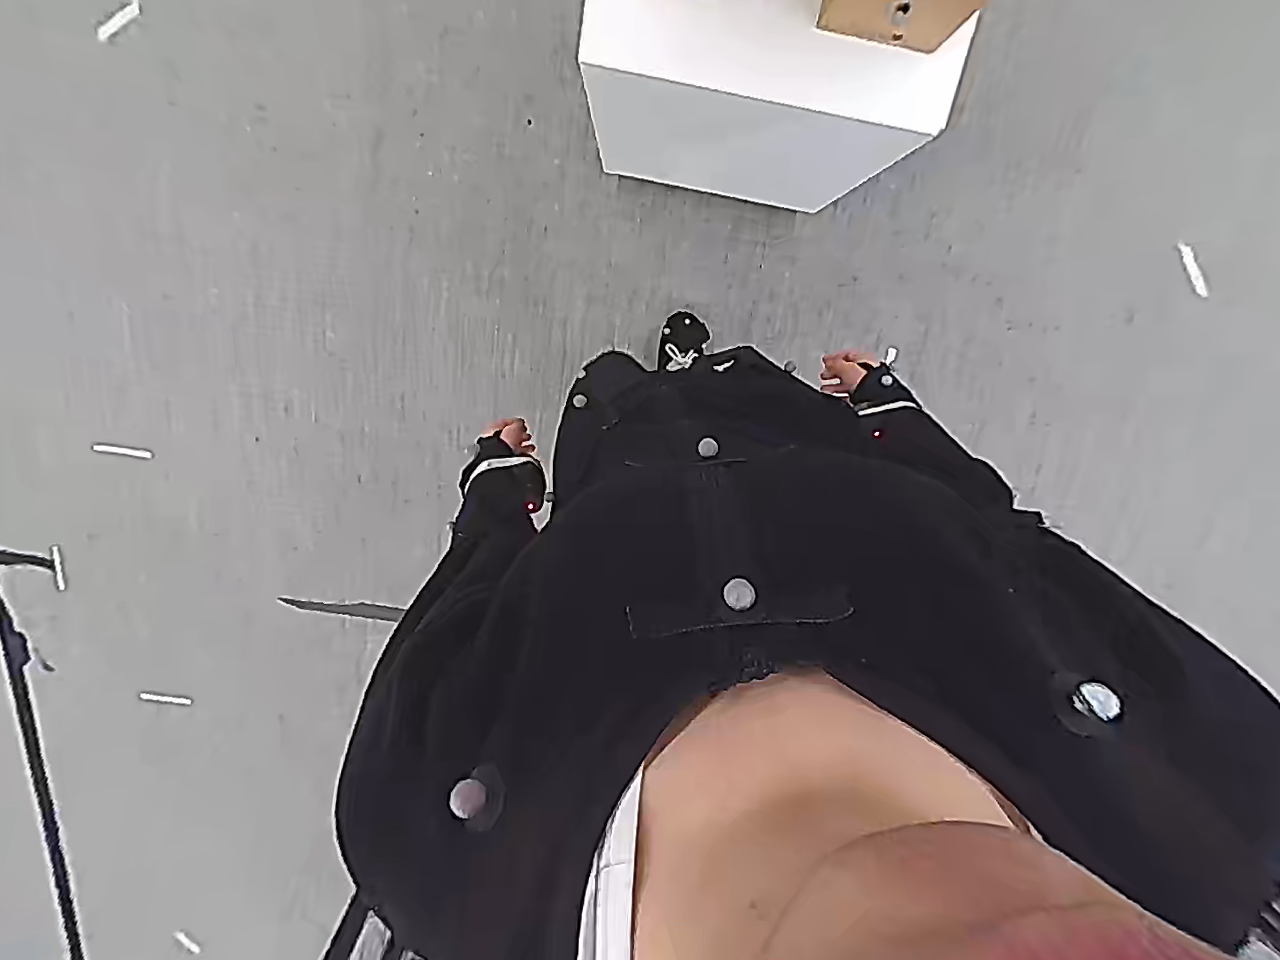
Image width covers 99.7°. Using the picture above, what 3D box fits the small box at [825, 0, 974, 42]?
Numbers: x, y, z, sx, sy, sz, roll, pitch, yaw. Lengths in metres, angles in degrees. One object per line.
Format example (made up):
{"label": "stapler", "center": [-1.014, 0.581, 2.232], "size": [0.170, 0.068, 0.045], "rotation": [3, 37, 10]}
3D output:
{"label": "small box", "center": [0.326, -0.646, 0.614], "size": [0.168, 0.176, 0.179], "rotation": [10, 107, -3]}
